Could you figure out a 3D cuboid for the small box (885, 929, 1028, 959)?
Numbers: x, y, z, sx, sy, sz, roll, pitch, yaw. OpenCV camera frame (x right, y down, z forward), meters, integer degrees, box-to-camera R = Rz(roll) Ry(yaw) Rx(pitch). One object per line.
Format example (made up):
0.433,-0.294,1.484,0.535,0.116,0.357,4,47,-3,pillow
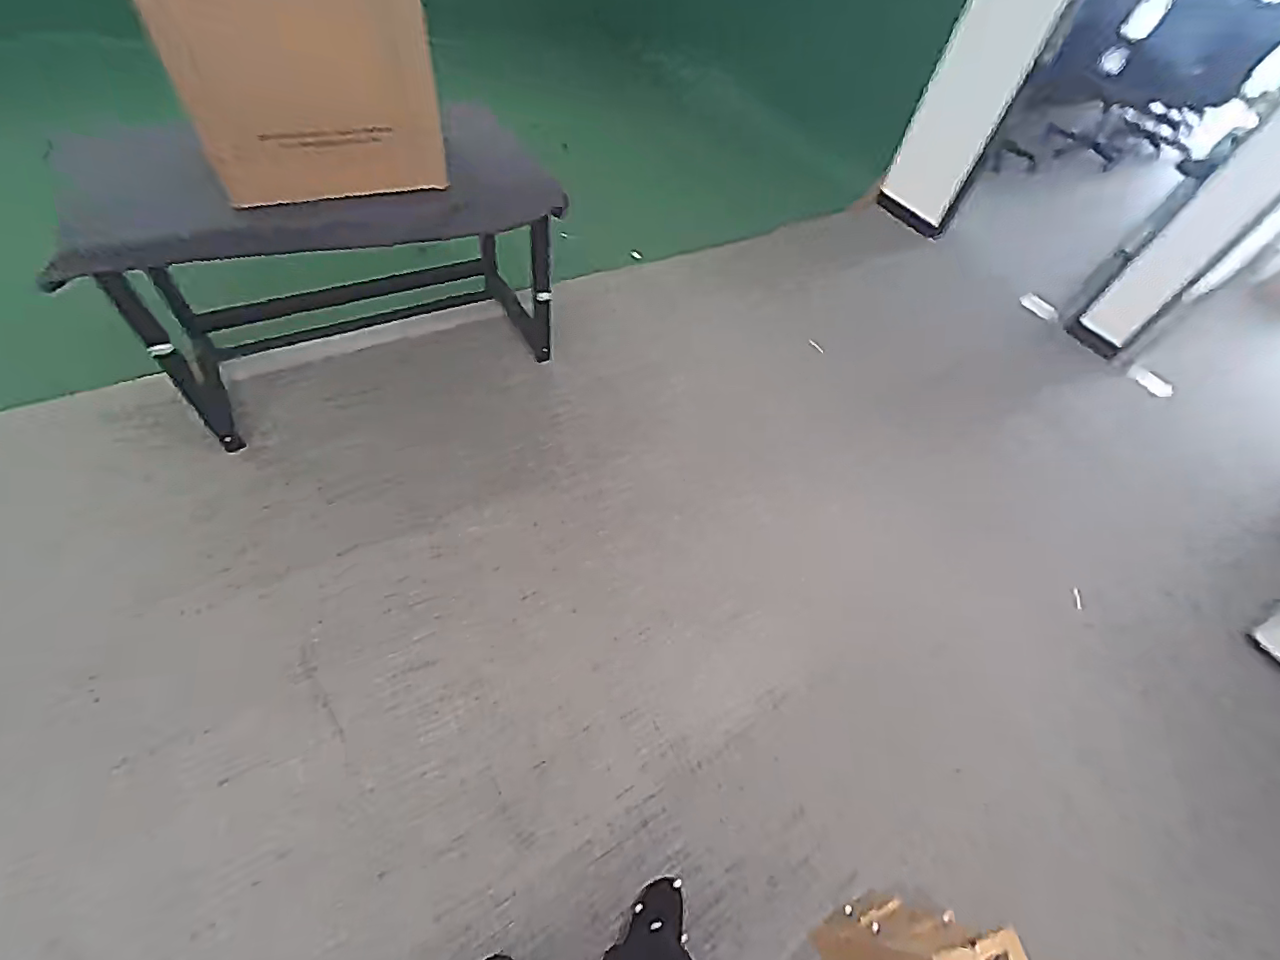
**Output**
0.537,0.860,0.883,0.168,0.176,0.179,-4,55,-10,small box

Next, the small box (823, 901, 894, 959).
0.514,1.040,1.150,0.168,0.176,0.179,34,54,14,small box

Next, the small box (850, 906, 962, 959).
0.529,0.944,1.028,0.179,0.176,0.168,-11,57,-18,small box
